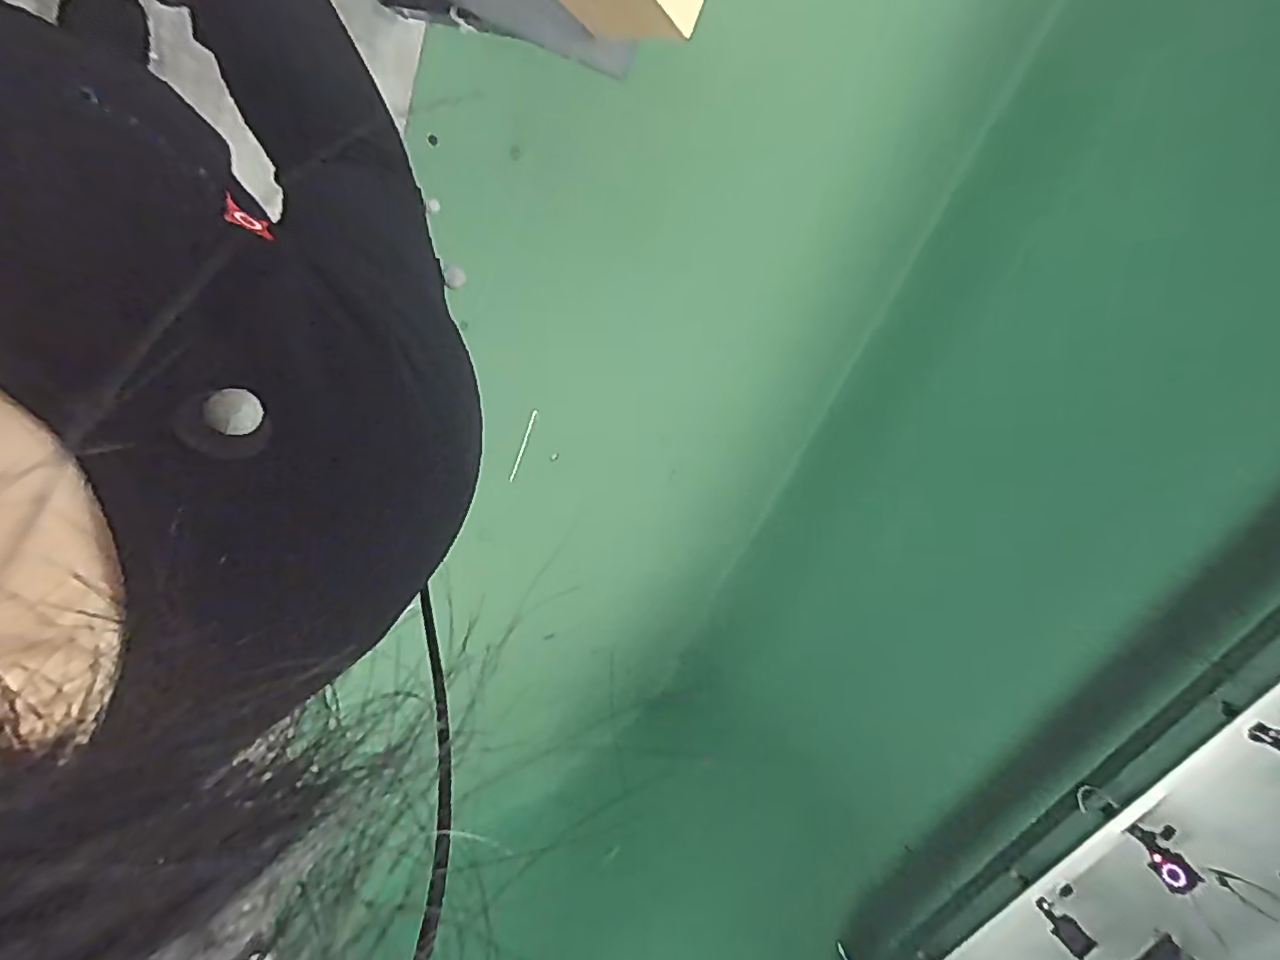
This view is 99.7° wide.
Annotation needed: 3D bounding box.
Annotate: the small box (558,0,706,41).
[{"bbox_3d":[-0.021,-0.615,0.583,0.179,0.176,0.168,4,116,-51],"label":"small box"}]
